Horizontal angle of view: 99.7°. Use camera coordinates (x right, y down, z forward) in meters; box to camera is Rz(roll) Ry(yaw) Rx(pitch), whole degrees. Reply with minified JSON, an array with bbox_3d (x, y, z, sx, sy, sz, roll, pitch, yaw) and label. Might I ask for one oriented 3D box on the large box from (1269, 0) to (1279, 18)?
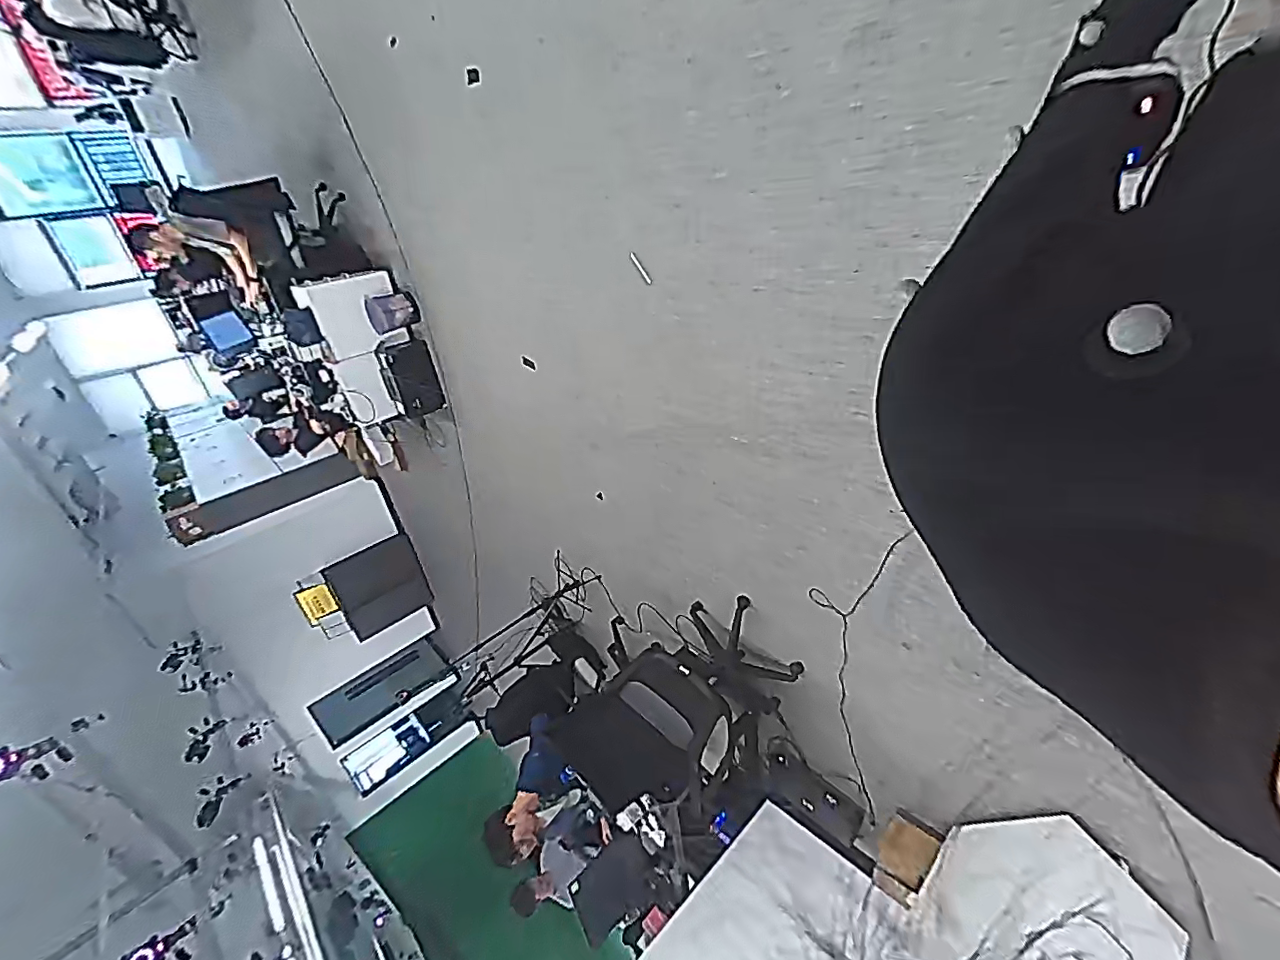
[{"bbox_3d":[1.014,-0.745,0.567,0.408,0.320,0.320,22,131,40],"label":"large box"}]
